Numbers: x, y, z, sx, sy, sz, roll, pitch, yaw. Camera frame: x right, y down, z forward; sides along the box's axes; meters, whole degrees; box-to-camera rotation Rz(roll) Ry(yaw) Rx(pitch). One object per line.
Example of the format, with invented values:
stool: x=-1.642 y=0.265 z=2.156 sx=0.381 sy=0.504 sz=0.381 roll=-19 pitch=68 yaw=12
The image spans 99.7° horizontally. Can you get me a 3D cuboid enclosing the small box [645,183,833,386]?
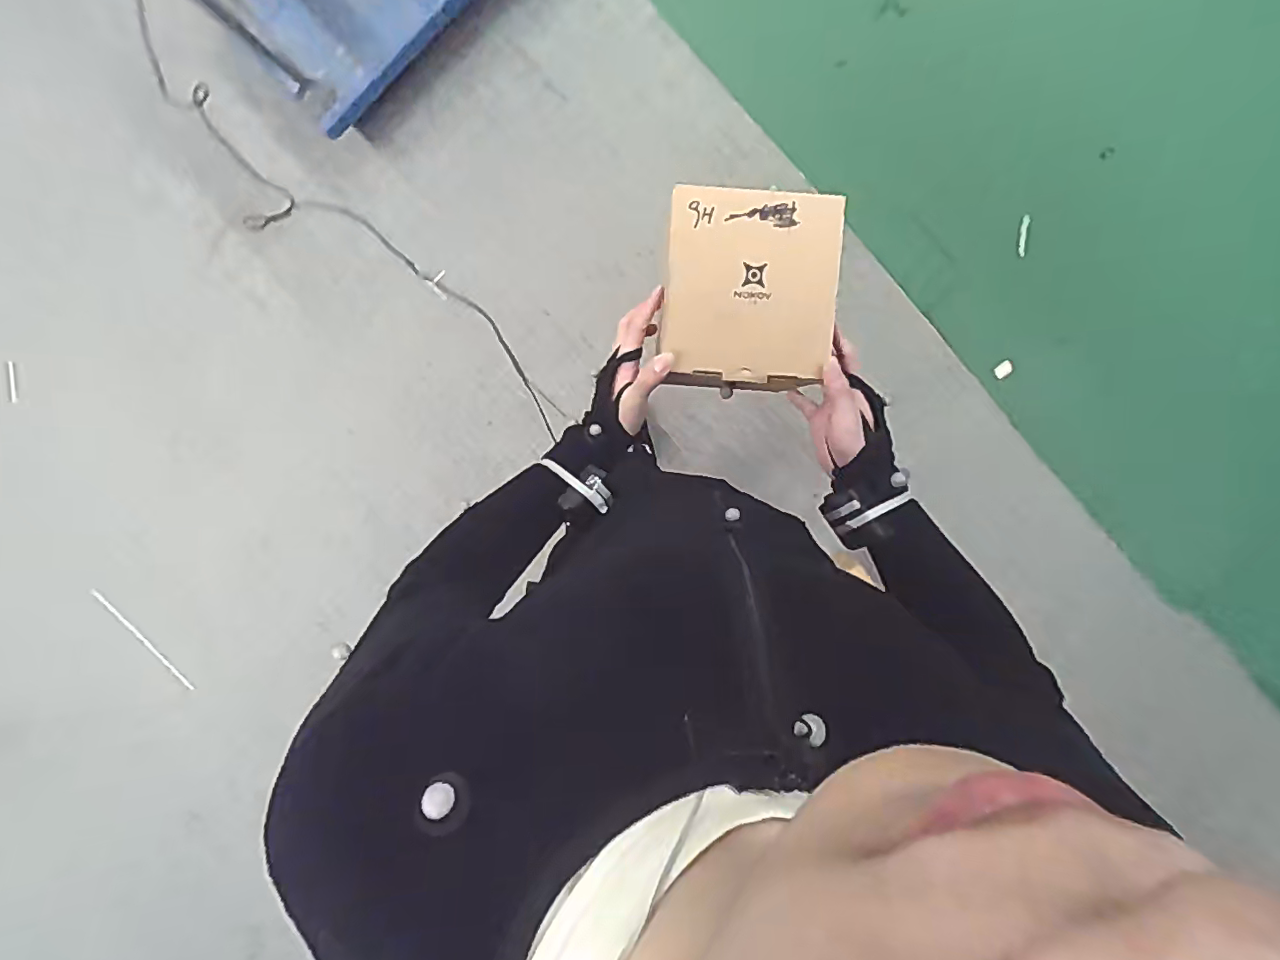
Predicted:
small box: x=0.093 y=-0.197 z=0.595 sx=0.168 sy=0.176 sz=0.179 roll=3 pitch=97 yaw=-2
